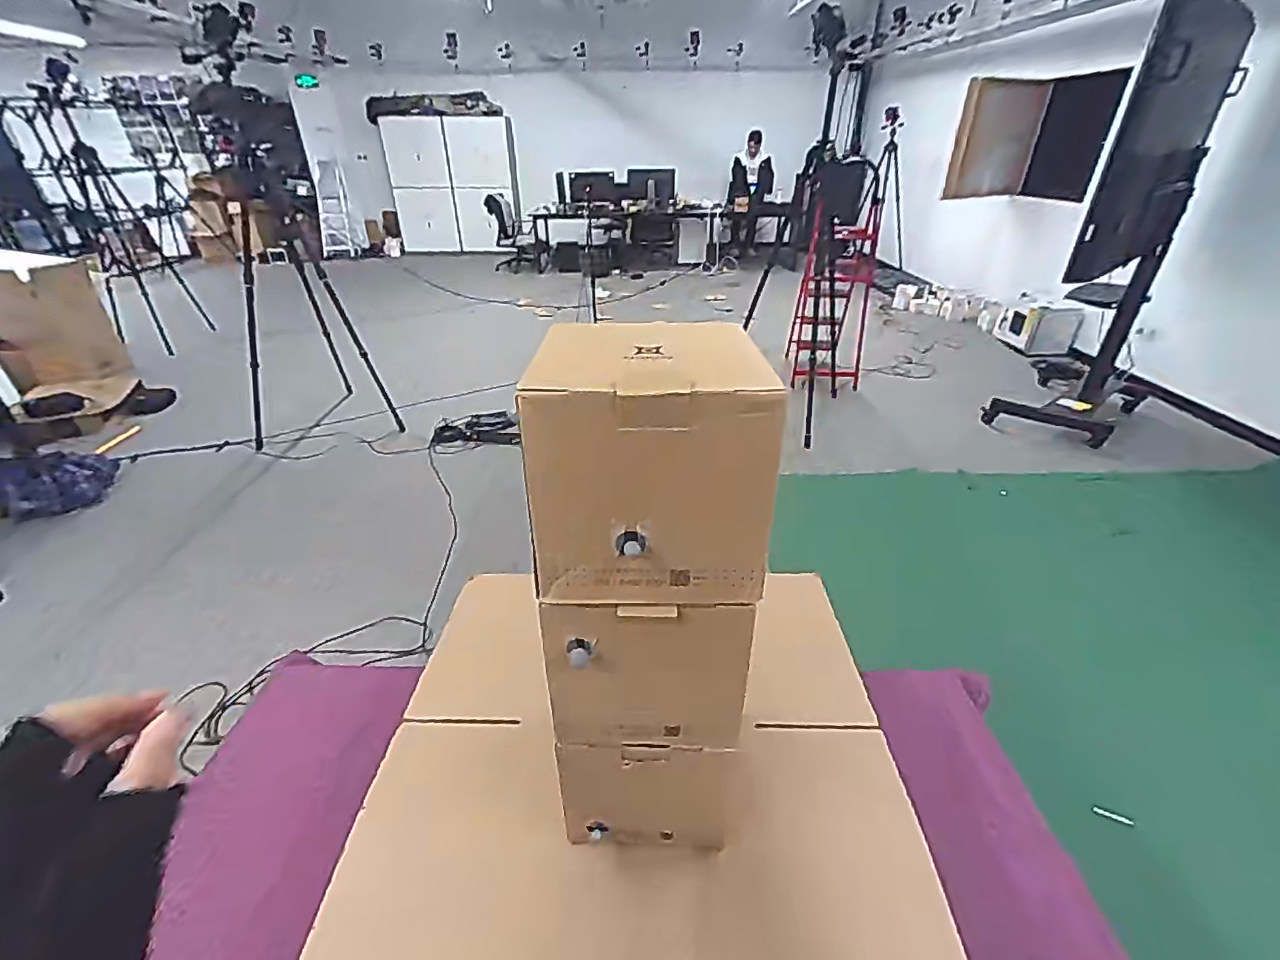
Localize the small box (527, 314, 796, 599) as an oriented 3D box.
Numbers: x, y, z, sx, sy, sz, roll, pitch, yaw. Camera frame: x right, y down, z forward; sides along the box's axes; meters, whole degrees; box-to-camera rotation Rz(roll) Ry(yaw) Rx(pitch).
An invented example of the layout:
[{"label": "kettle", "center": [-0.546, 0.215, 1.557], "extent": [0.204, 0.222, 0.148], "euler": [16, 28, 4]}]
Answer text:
[{"label": "small box", "center": [0.011, -0.027, 0.434], "extent": [0.168, 0.176, 0.179], "euler": [0, 30, -1]}]

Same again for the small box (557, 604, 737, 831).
[{"label": "small box", "center": [0.007, 0.260, 0.595], "extent": [0.168, 0.176, 0.179], "euler": [-1, 32, -1]}]
